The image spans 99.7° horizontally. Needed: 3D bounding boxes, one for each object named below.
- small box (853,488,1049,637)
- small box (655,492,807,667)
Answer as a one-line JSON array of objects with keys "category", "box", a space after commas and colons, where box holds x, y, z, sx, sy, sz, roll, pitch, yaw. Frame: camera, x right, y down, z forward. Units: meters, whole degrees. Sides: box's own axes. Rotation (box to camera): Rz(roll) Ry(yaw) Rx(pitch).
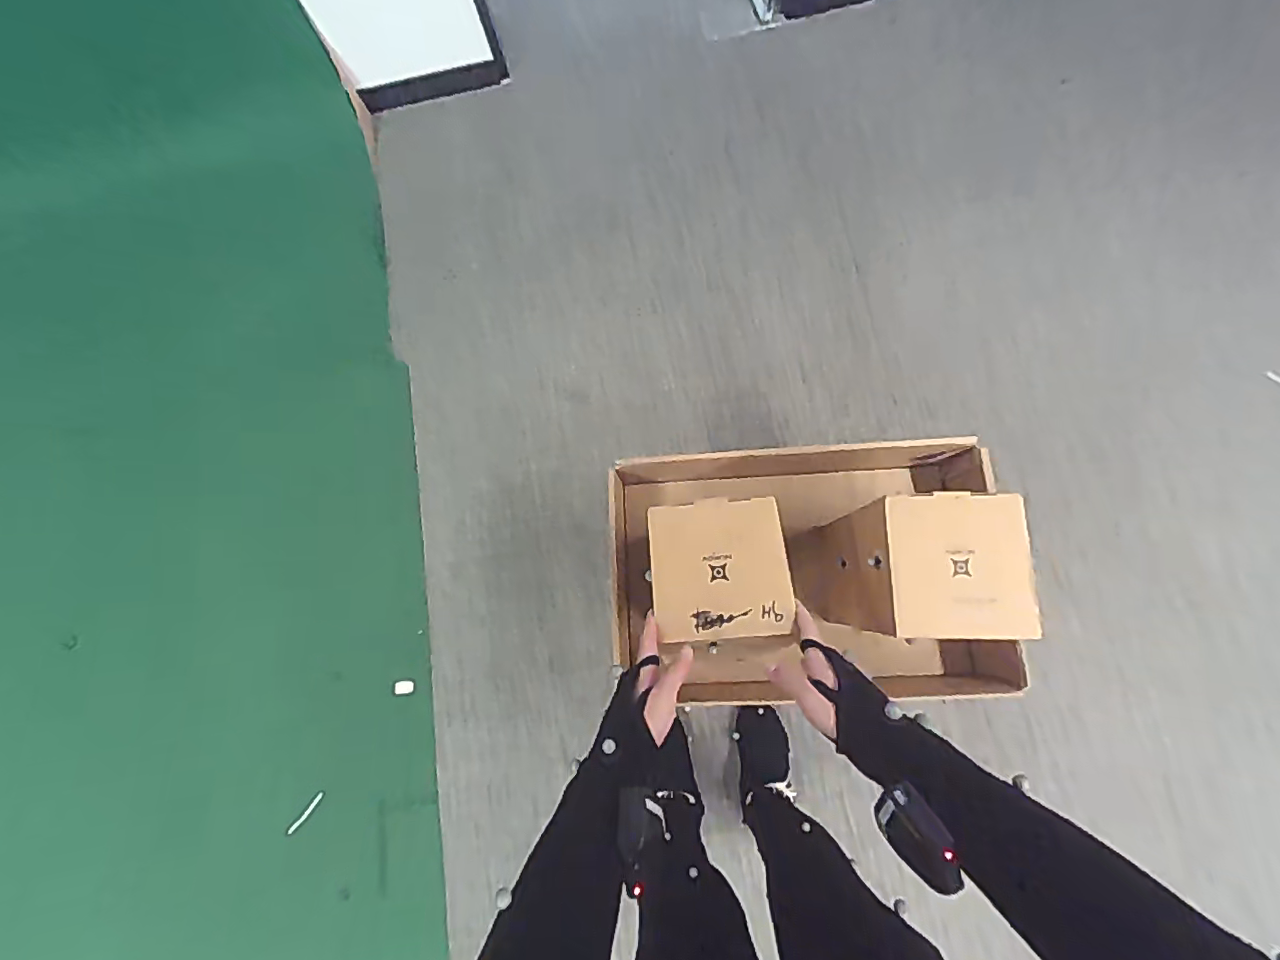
[{"category": "small box", "box": [0.395, 0.113, 0.721, 0.168, 0.176, 0.179, 0, 78, 5]}, {"category": "small box", "box": [0.110, 0.136, 0.712, 0.168, 0.176, 0.179, -6, 60, 5]}]
